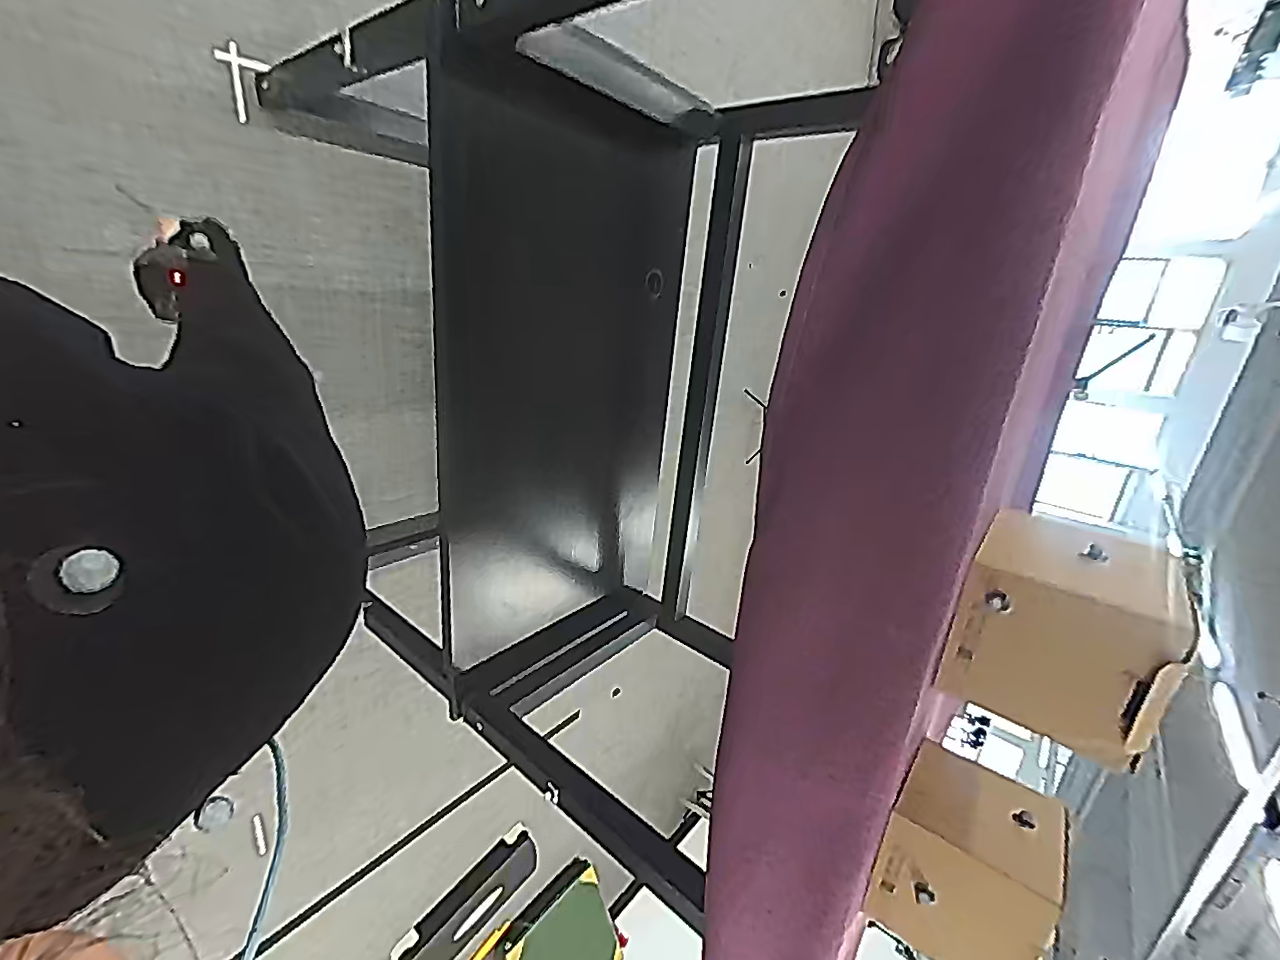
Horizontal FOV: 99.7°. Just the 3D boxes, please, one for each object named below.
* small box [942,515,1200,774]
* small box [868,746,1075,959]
[{"bbox_3d":[0.444,0.156,0.578,0.179,0.176,0.168,-24,124,-47],"label":"small box"},{"bbox_3d":[0.406,0.473,0.670,0.179,0.176,0.168,-12,114,-50],"label":"small box"}]
